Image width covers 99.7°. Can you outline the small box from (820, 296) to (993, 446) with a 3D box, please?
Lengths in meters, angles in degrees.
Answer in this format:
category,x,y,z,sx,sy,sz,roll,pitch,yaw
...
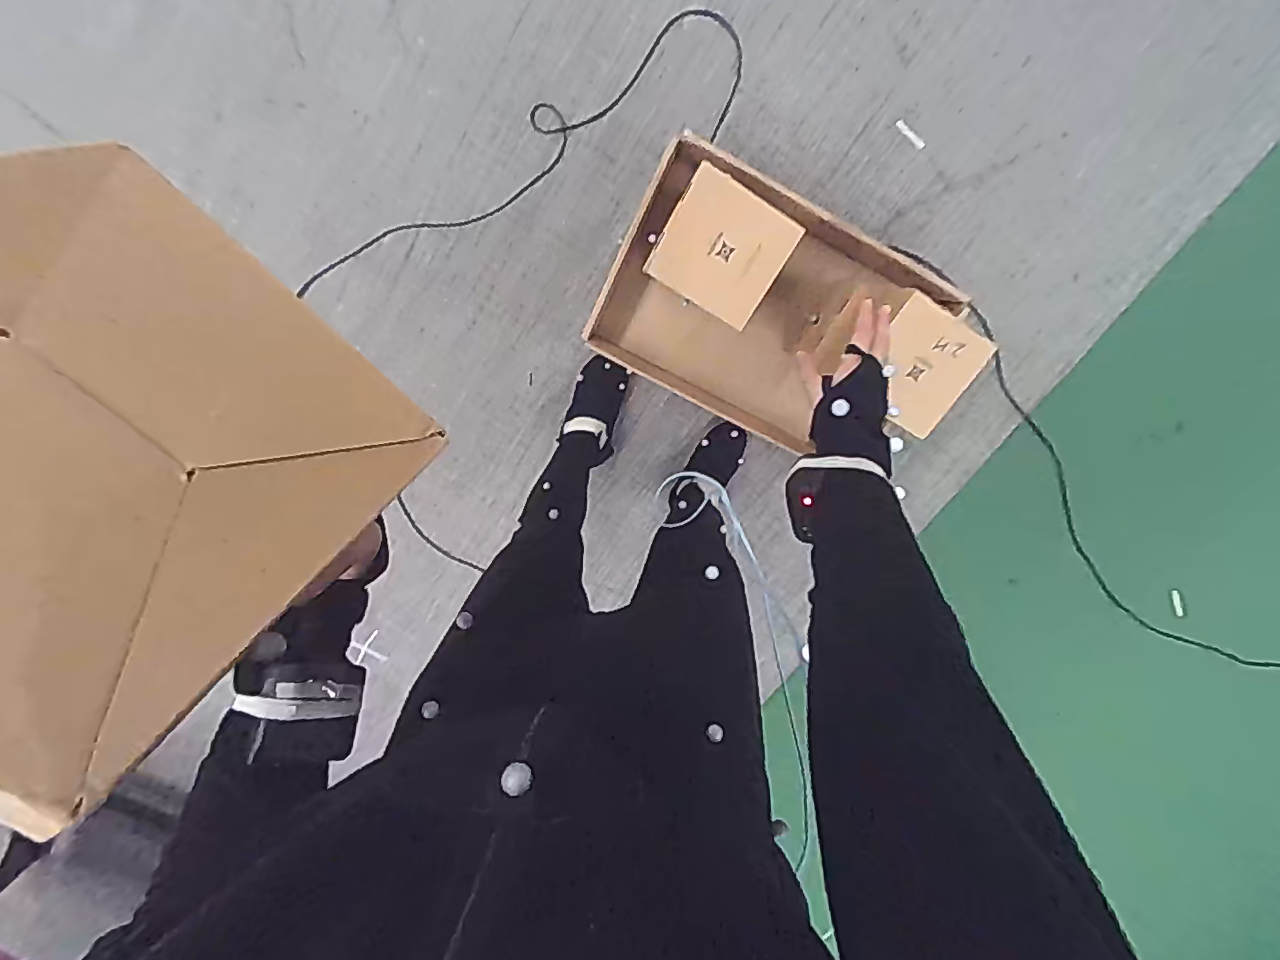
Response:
category,x,y,z,sx,sy,sz,roll,pitch,yaw
small box,0.427,-0.189,0.908,0.168,0.176,0.179,30,107,-11

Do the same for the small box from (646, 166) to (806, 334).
category,x,y,z,sx,sy,sz,roll,pitch,yaw
small box,0.123,-0.353,0.854,0.179,0.176,0.168,30,109,-10

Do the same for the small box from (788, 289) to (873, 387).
category,x,y,z,sx,sy,sz,roll,pitch,yaw
small box,0.417,-0.254,1.060,0.179,0.176,0.168,30,108,-9
